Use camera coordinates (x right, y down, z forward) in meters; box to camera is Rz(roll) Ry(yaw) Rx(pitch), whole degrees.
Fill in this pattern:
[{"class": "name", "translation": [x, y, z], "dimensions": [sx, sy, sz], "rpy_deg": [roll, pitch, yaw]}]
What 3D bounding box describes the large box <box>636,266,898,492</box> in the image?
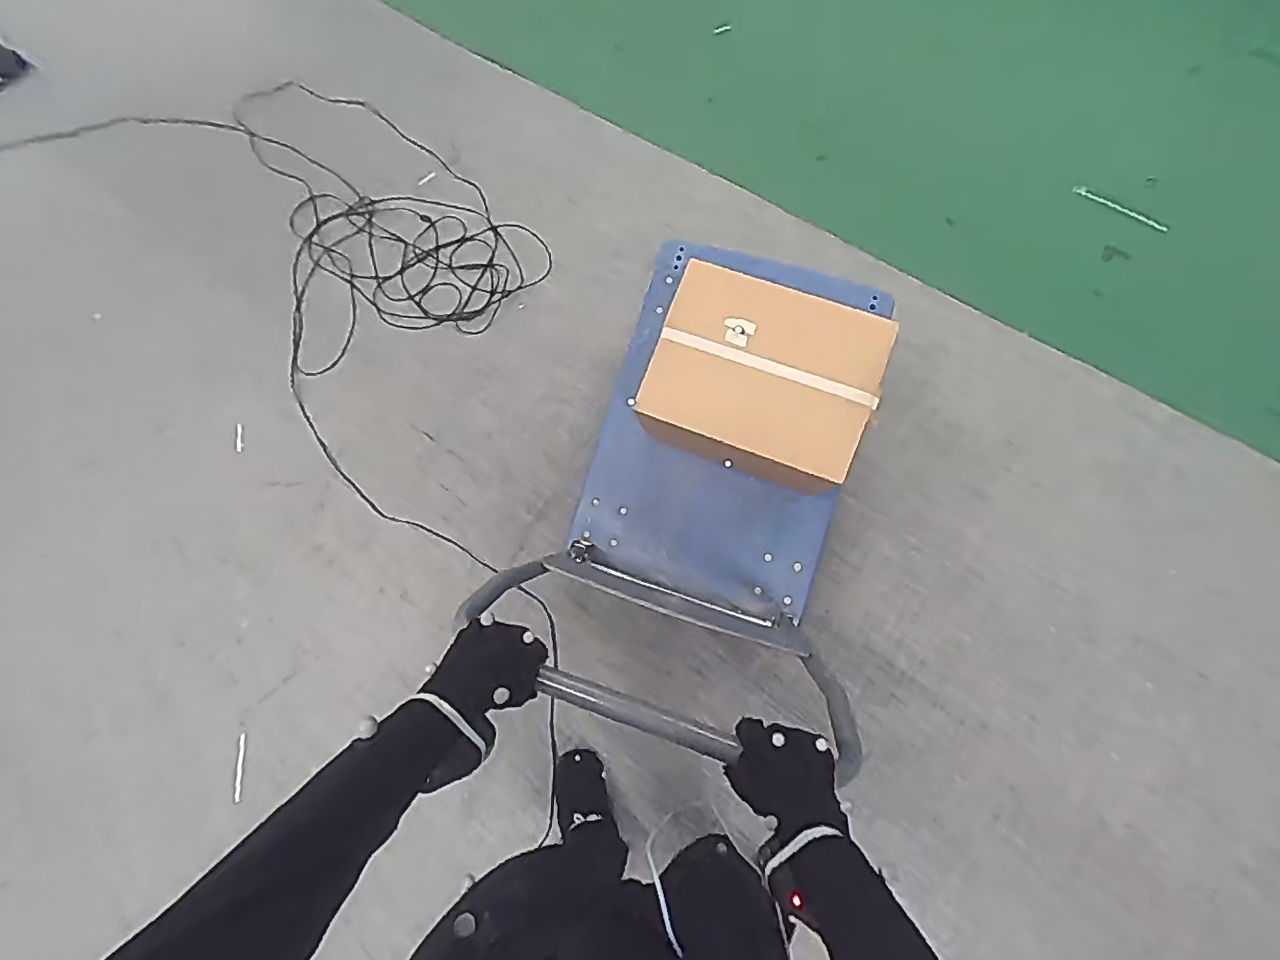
[{"class": "large box", "translation": [0.248, -0.187, 1.130], "dimensions": [0.408, 0.320, 0.320], "rpy_deg": [20, 87, 9]}]
